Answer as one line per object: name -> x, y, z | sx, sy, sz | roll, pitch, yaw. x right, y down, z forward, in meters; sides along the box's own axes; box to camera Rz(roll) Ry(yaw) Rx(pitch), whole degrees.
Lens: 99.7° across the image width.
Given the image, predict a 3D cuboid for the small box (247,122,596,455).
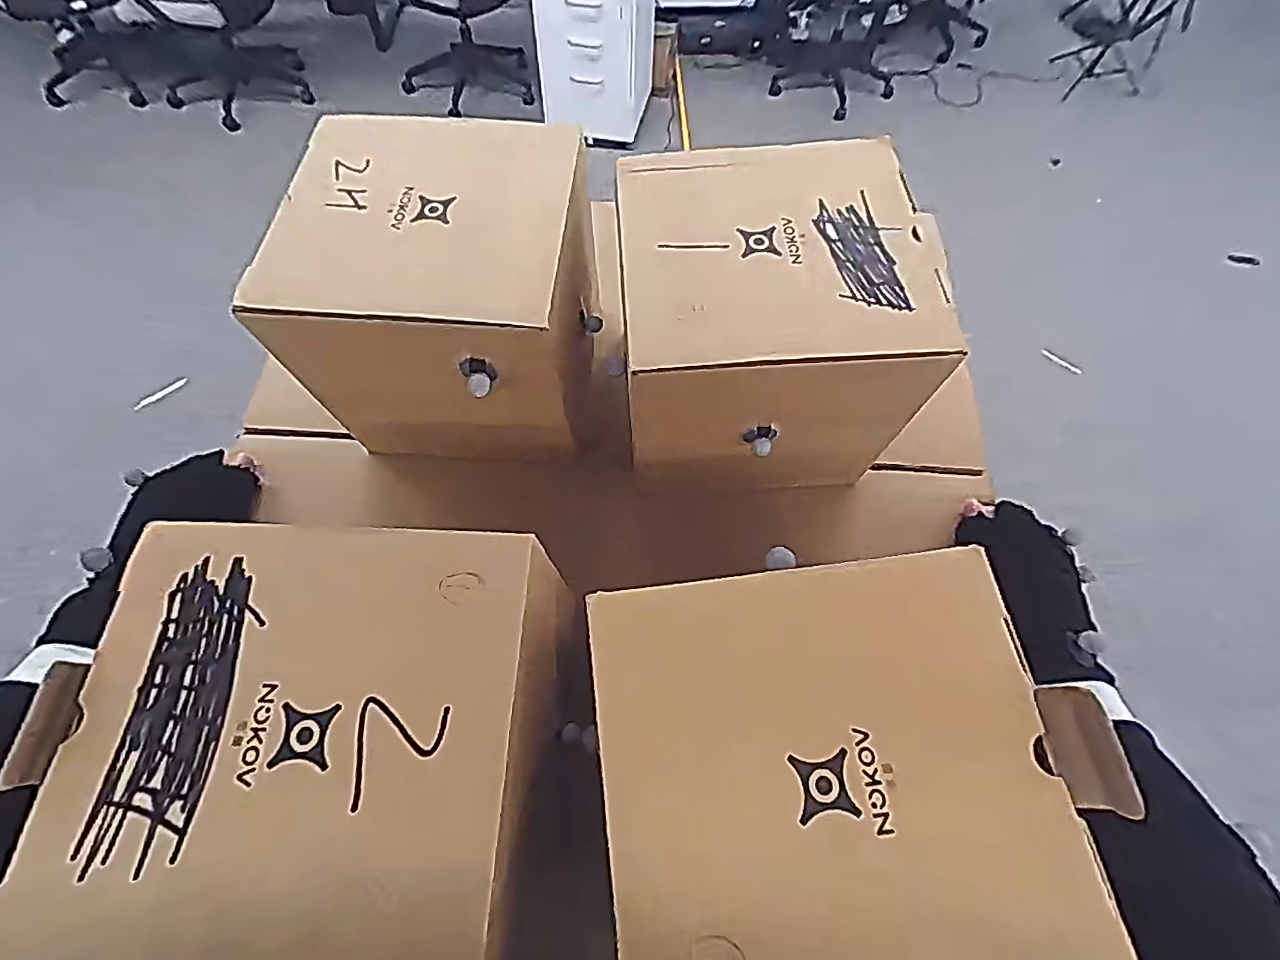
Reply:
small box -> -0.131, -0.130, 0.409 | 0.179, 0.176, 0.168 | 4, 65, 3
